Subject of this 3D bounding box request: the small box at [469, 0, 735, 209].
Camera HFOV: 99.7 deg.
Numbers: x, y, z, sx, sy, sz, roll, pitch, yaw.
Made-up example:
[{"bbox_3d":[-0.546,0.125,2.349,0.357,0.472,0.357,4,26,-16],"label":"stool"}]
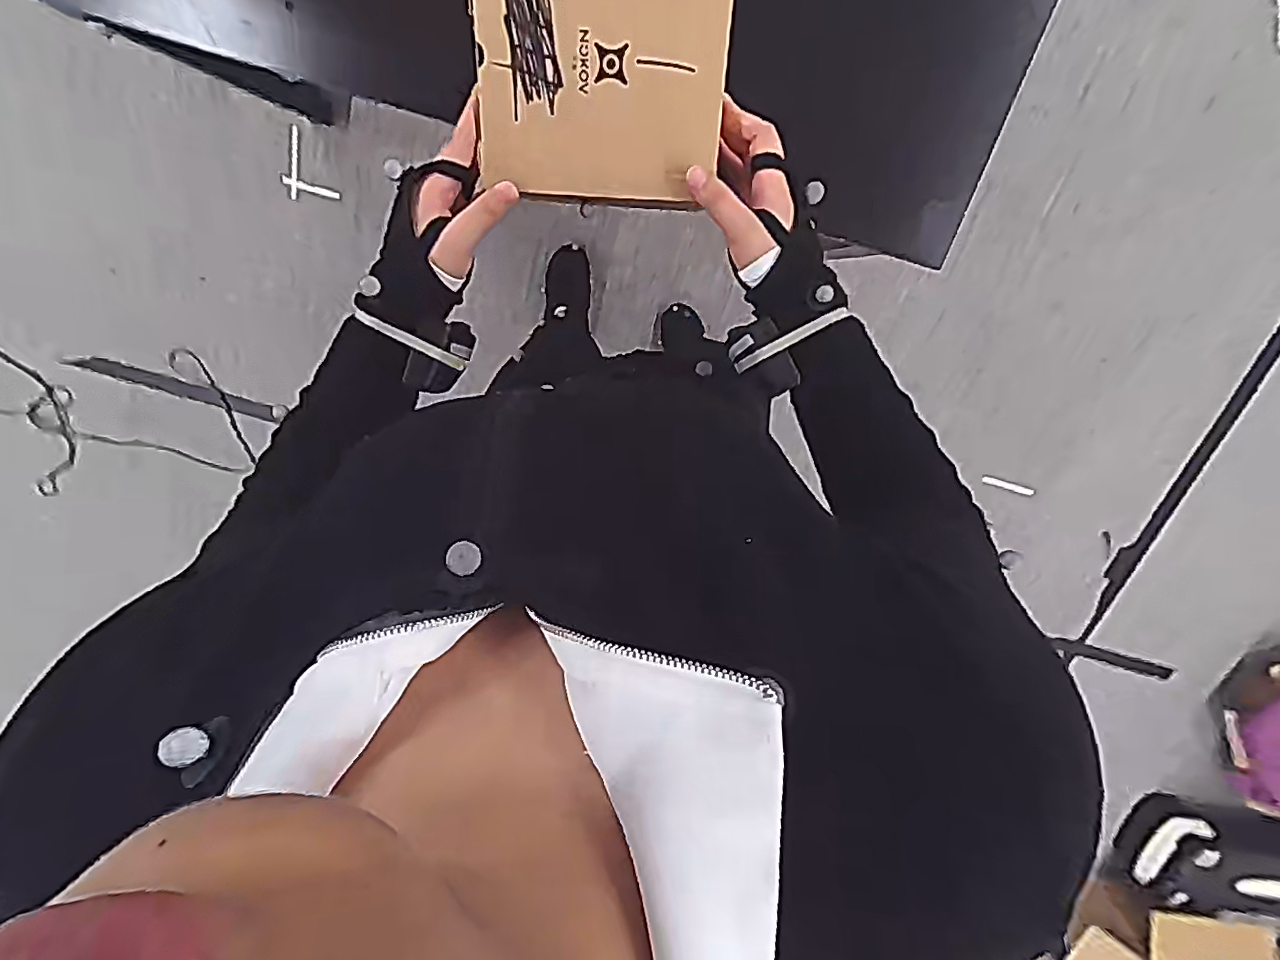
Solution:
[{"bbox_3d":[-0.023,-0.318,0.433,0.179,0.176,0.168,5,115,0],"label":"small box"}]
